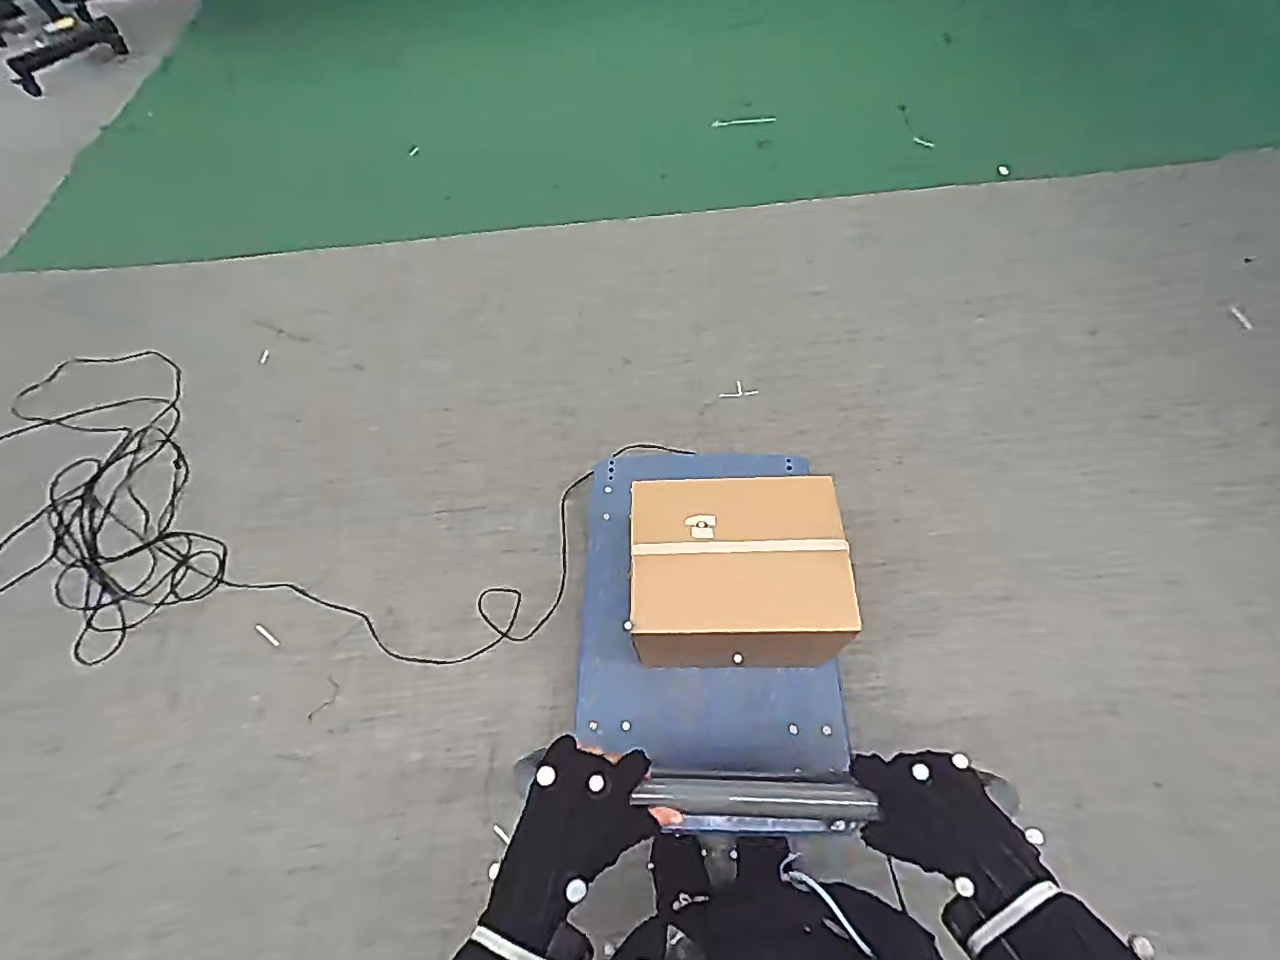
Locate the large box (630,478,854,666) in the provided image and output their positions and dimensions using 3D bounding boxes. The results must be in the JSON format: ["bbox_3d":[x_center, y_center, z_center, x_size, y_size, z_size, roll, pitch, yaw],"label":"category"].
[{"bbox_3d":[0.193,0.212,1.163,0.408,0.320,0.320,-2,59,4],"label":"large box"}]
